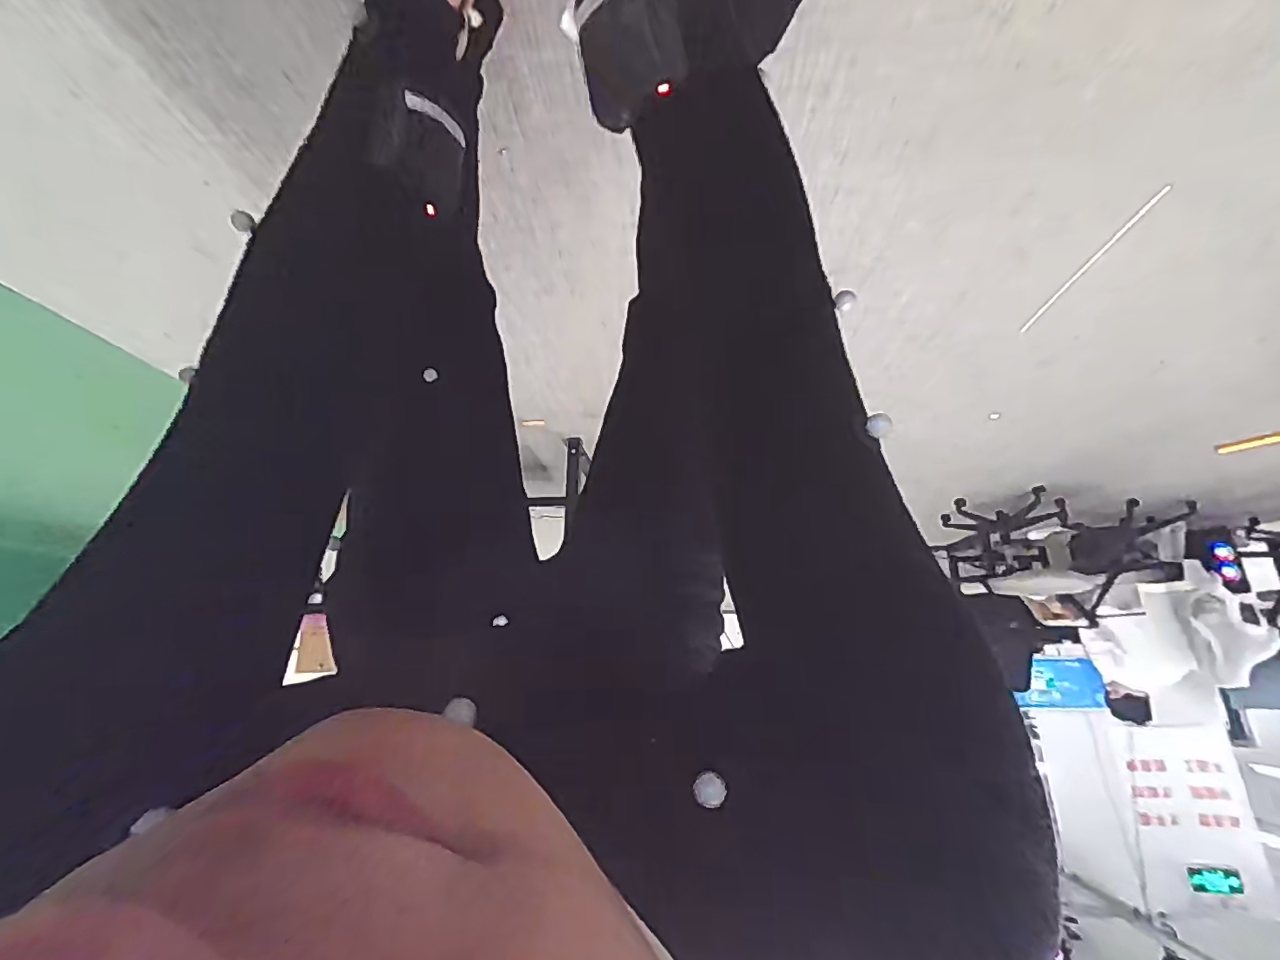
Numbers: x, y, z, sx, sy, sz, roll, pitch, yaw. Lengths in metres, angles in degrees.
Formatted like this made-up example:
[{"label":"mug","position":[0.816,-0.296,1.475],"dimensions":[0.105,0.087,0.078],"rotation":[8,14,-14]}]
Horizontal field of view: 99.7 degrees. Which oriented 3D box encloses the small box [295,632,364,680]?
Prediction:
[{"label":"small box","position":[-1.201,0.681,2.105],"dimensions":[0.168,0.176,0.179],"rotation":[-3,164,2]}]
